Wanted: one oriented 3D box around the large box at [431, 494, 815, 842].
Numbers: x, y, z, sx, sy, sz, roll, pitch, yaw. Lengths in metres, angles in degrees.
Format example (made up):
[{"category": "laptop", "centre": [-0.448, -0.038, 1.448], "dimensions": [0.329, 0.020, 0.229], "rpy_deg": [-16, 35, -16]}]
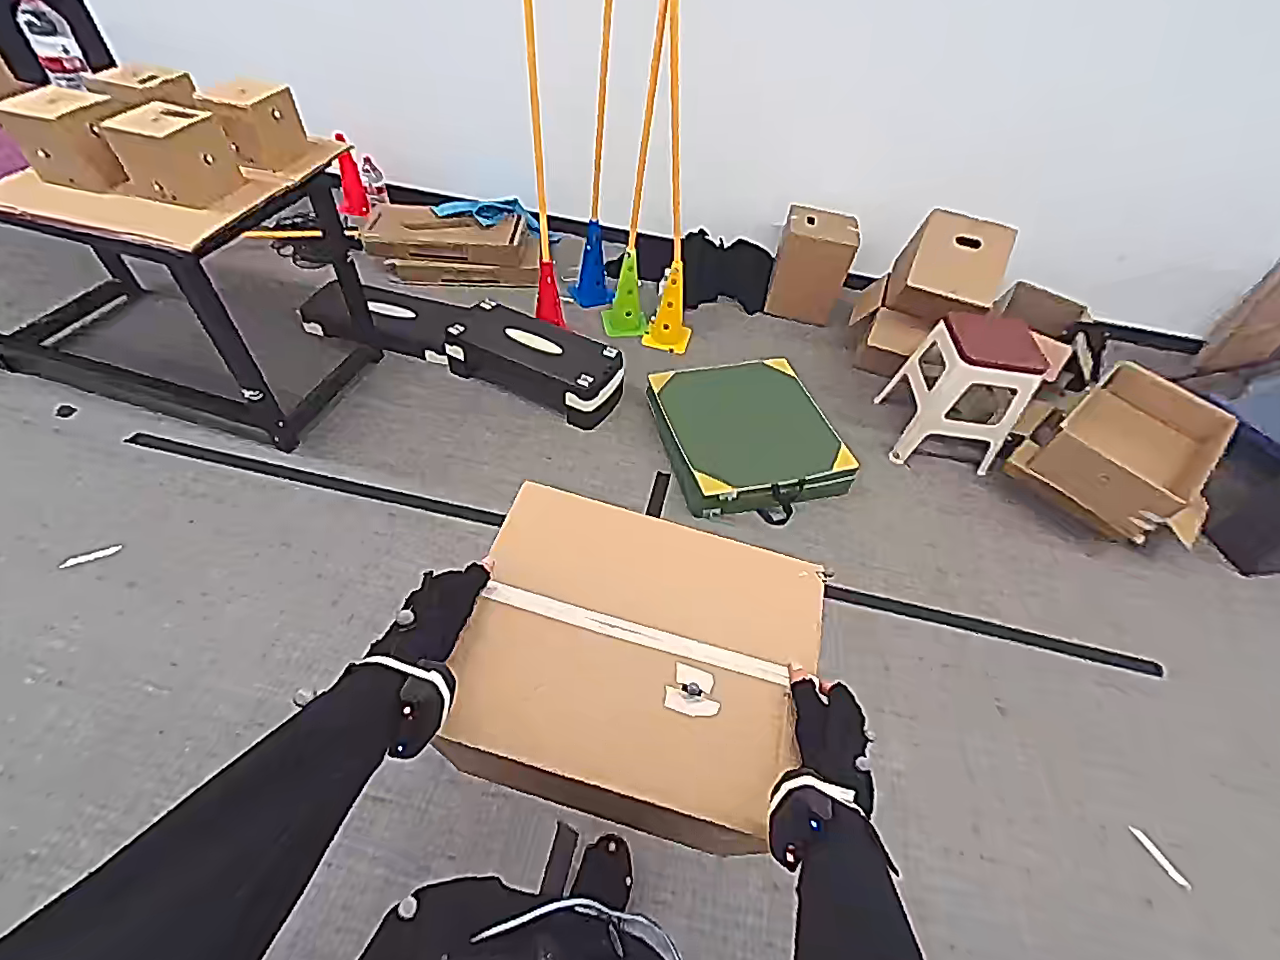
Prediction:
[{"category": "large box", "centre": [-0.014, 0.271, 0.754], "dimensions": [0.408, 0.320, 0.320], "rpy_deg": [16, 55, 2]}]
